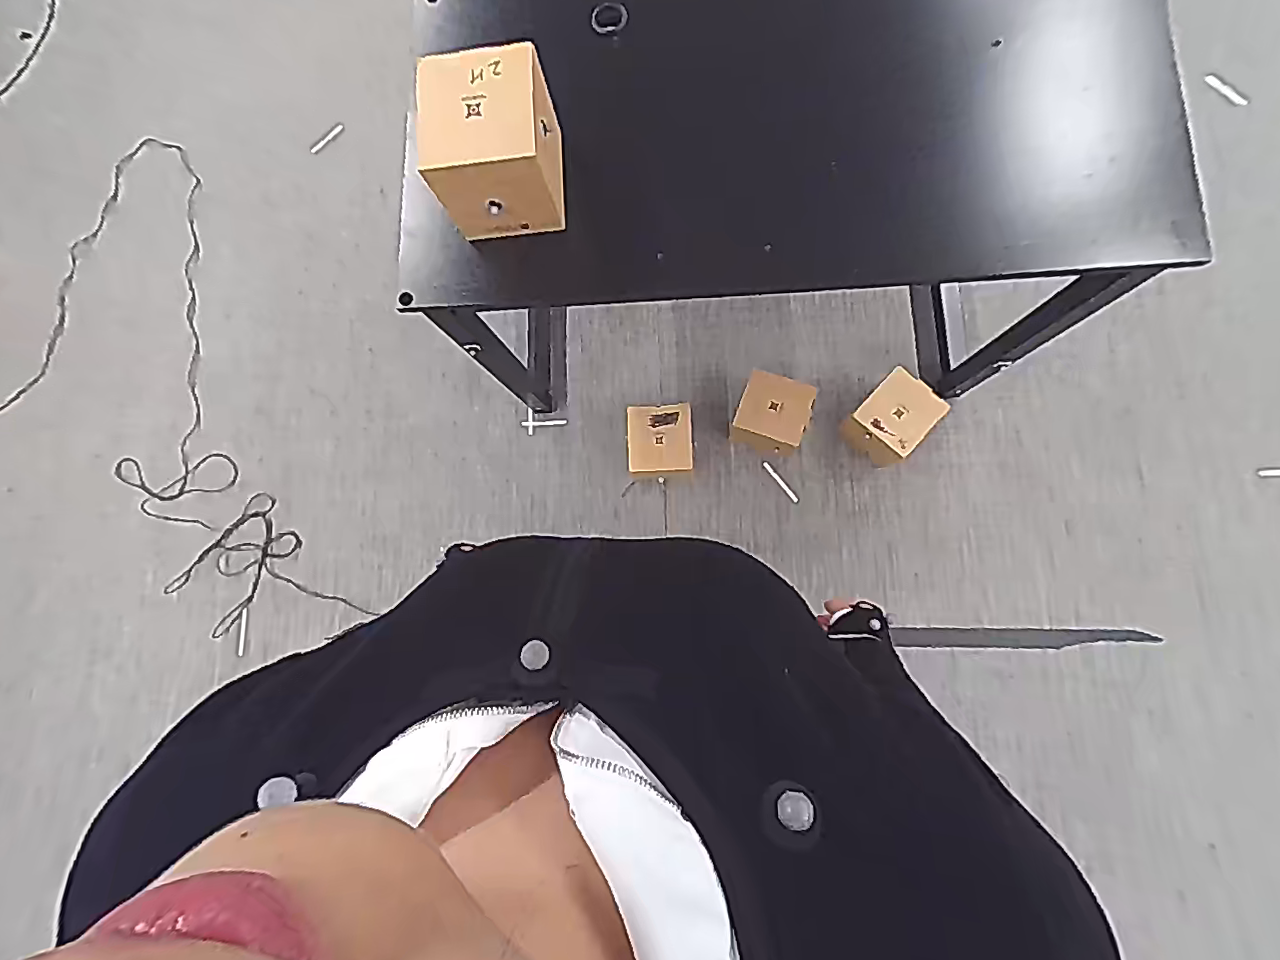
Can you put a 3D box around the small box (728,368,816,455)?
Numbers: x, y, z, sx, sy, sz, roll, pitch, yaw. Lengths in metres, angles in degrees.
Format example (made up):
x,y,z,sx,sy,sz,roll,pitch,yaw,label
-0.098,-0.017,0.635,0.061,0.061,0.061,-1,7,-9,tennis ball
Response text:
x,y,z,sx,sy,sz,roll,pitch,yaw,label
0.346,-0.176,1.451,0.179,0.176,0.168,19,84,9,small box

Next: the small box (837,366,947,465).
x,y,z,sx,sy,sz,roll,pitch,yaw,label
0.647,-0.162,1.415,0.168,0.176,0.179,42,88,10,small box

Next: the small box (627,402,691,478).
x,y,z,sx,sy,sz,roll,pitch,yaw,label
0.054,-0.103,1.469,0.168,0.176,0.179,-2,84,6,small box

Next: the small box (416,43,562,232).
x,y,z,sx,sy,sz,roll,pitch,yaw,label
-0.215,-0.493,0.808,0.168,0.176,0.179,-4,81,5,small box
